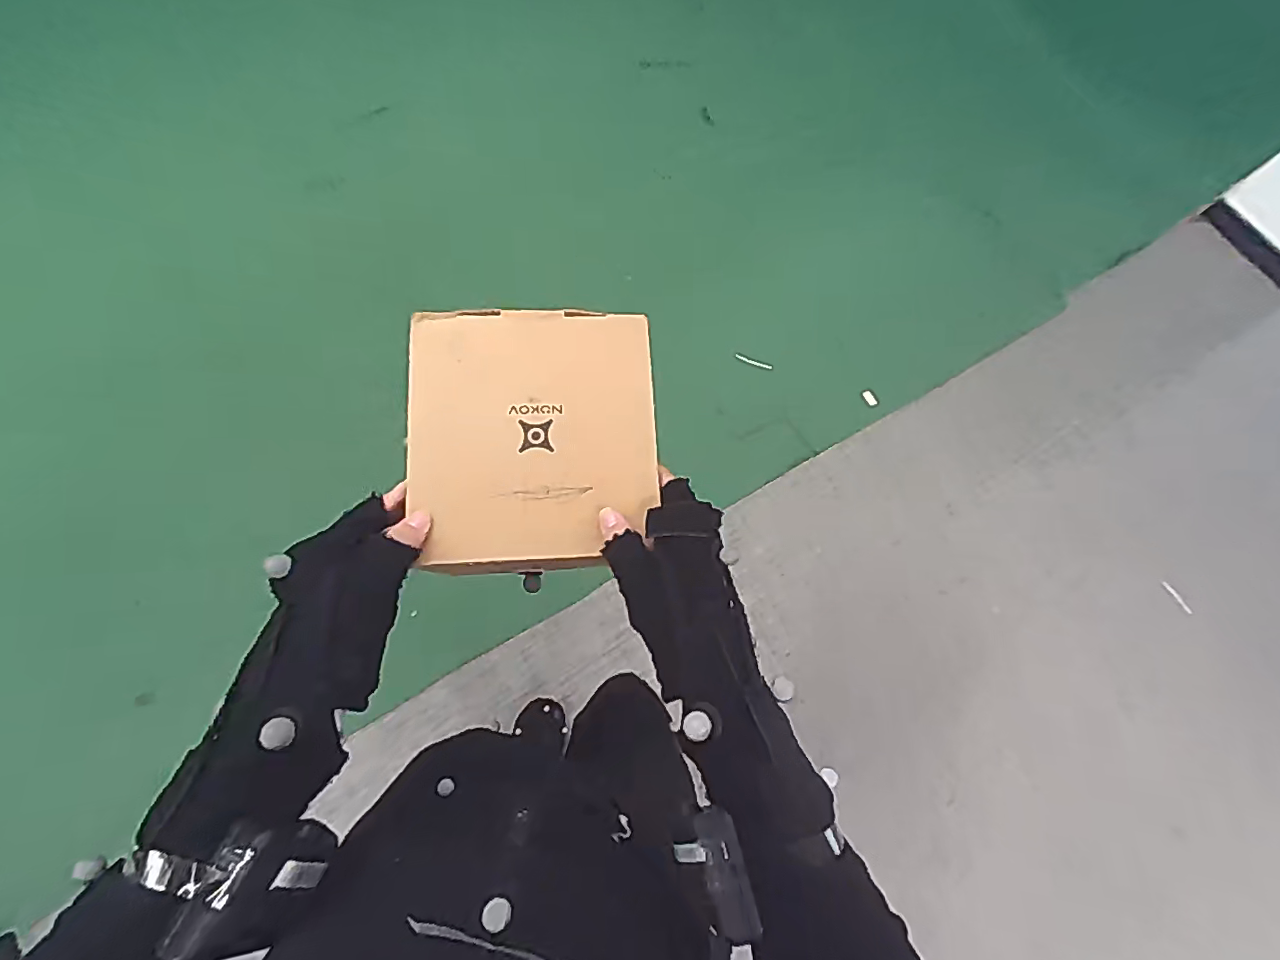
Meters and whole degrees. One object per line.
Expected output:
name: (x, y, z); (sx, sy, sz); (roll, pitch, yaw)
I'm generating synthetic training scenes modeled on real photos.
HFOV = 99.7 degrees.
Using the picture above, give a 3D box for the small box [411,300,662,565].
small box: (-0.080, -0.026, 0.449); (0.168, 0.176, 0.179); (-2, 78, -8)
